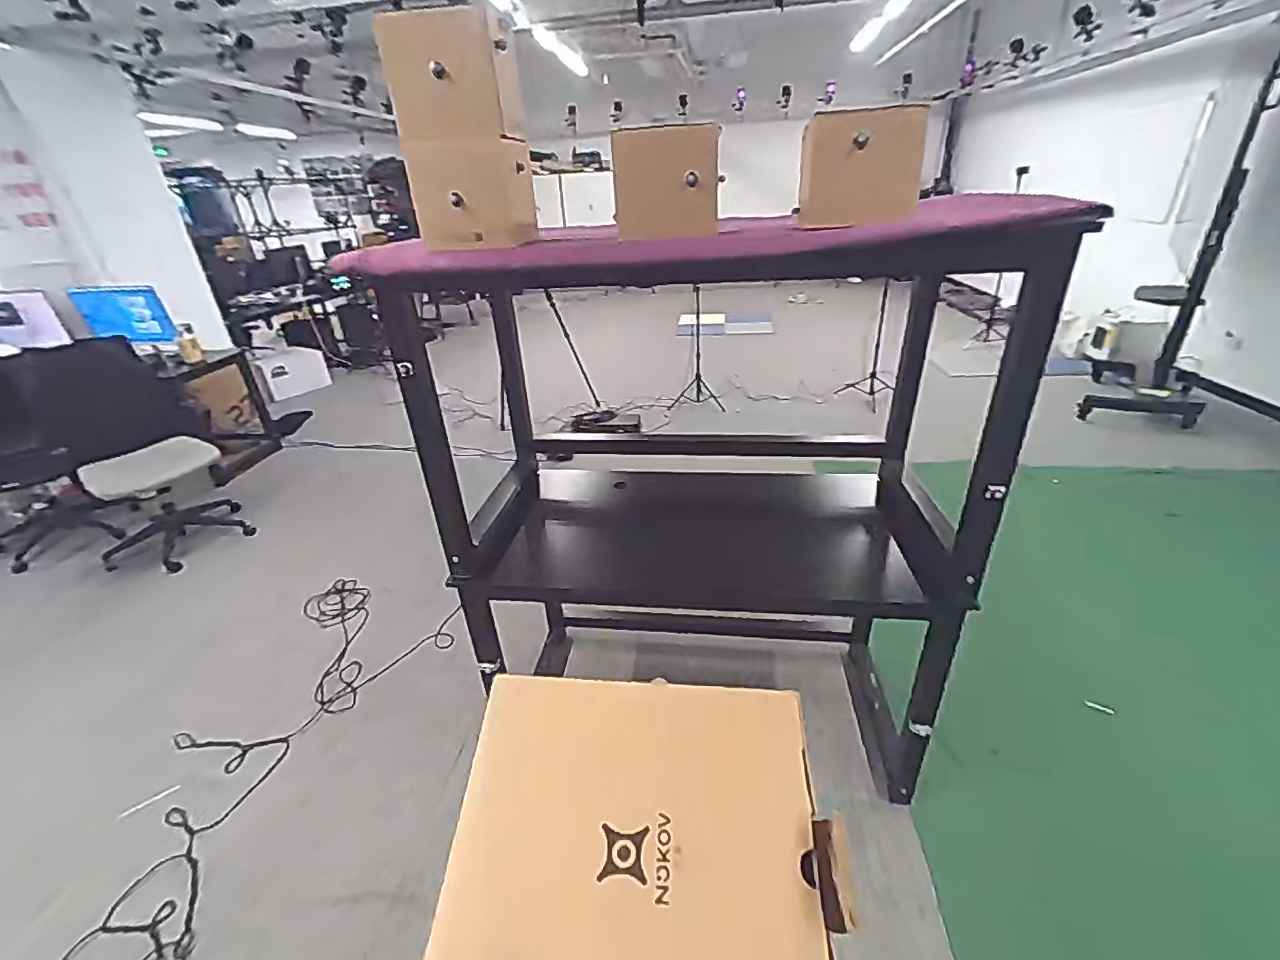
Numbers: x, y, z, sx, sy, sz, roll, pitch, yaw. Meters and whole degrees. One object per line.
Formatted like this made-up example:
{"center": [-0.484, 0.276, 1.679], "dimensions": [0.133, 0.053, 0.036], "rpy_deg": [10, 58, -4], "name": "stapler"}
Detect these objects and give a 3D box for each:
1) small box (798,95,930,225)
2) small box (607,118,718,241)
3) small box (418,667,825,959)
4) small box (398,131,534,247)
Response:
{"center": [0.369, -0.535, 0.926], "dimensions": [0.179, 0.176, 0.168], "rpy_deg": [1, 27, 9], "name": "small box"}
{"center": [0.046, -0.522, 0.949], "dimensions": [0.179, 0.176, 0.168], "rpy_deg": [-1, 28, 7], "name": "small box"}
{"center": [-0.003, 0.226, 0.318], "dimensions": [0.179, 0.176, 0.168], "rpy_deg": [2, 48, 3], "name": "small box"}
{"center": [-0.296, -0.514, 0.965], "dimensions": [0.168, 0.176, 0.179], "rpy_deg": [1, 29, 5], "name": "small box"}
